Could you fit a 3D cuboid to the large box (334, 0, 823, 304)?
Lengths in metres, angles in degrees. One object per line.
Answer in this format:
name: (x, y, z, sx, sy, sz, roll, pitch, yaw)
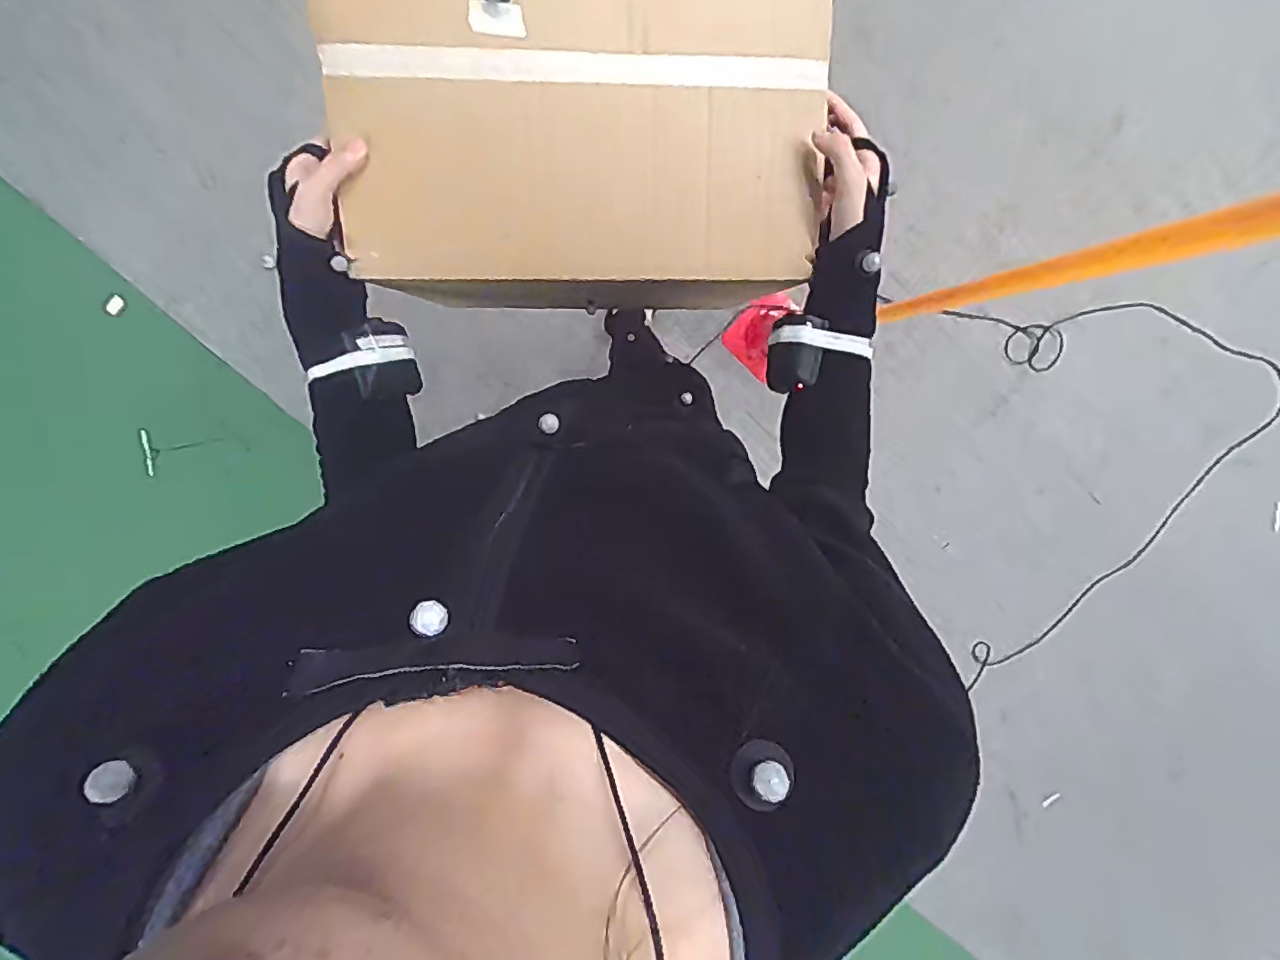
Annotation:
large box: (-0.054, -0.366, 0.596, 0.408, 0.320, 0.320, -1, 103, -5)
